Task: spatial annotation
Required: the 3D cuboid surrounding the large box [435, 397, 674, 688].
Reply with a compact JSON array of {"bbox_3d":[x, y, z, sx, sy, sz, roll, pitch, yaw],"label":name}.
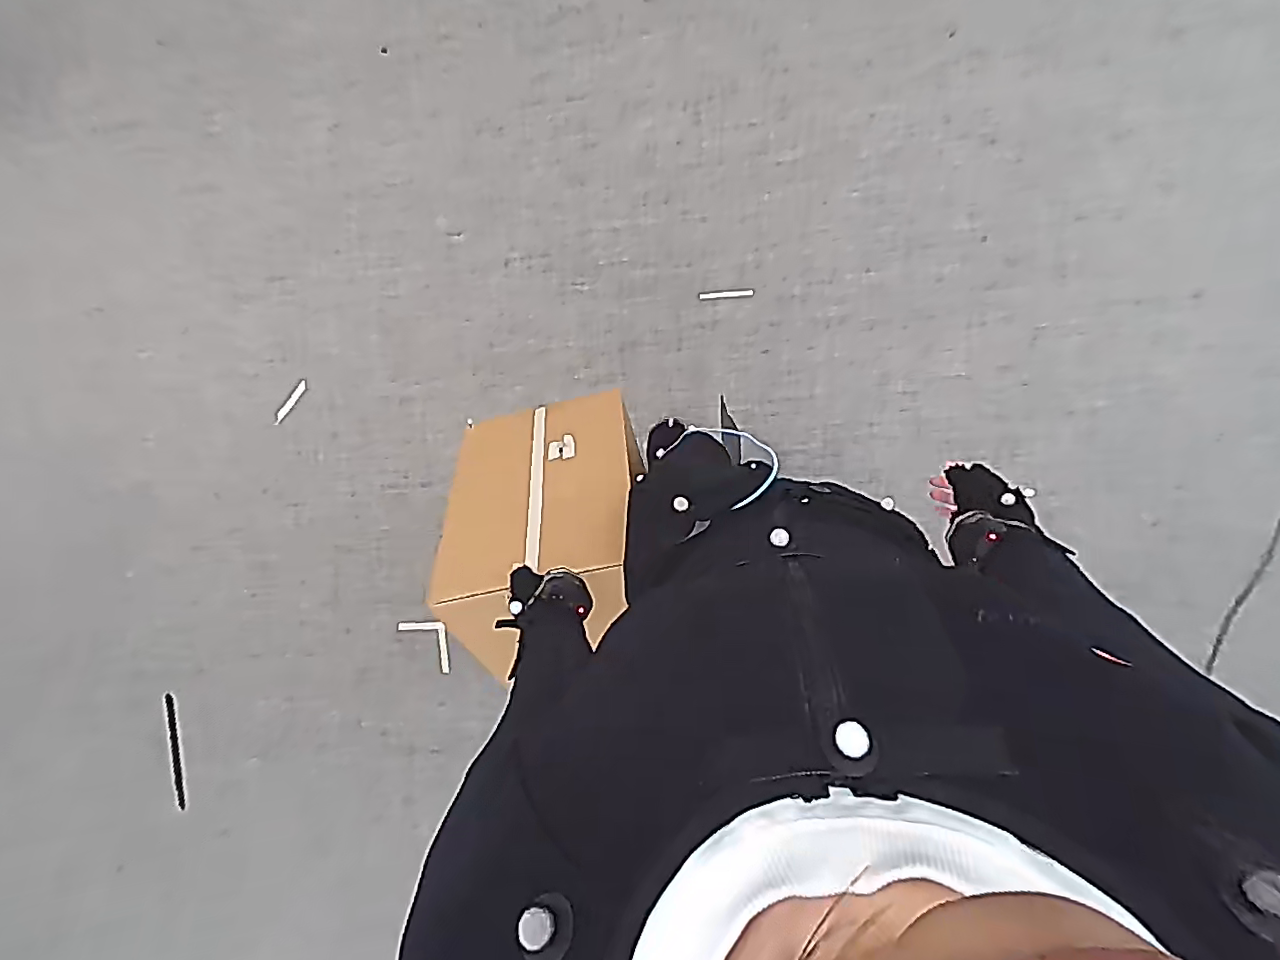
[{"bbox_3d":[-0.136,0.112,1.015,0.320,0.408,0.320,-12,134,6],"label":"large box"}]
